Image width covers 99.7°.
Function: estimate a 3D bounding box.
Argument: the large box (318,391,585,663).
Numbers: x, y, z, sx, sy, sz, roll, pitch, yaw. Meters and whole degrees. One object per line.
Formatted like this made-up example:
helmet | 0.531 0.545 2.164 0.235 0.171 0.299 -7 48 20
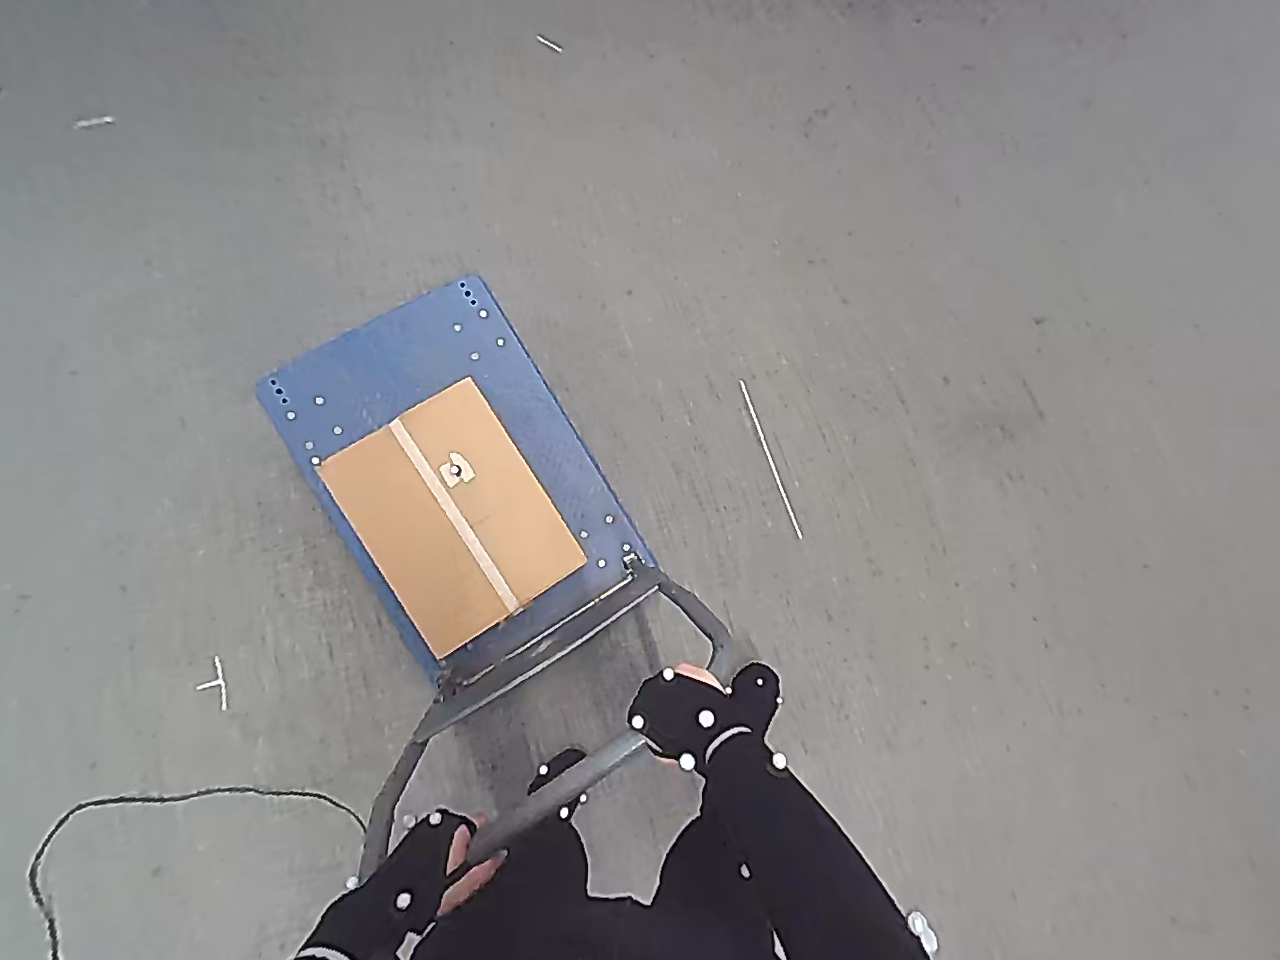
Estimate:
large box | -0.348 0.092 1.118 0.320 0.320 0.408 -34 89 -9
